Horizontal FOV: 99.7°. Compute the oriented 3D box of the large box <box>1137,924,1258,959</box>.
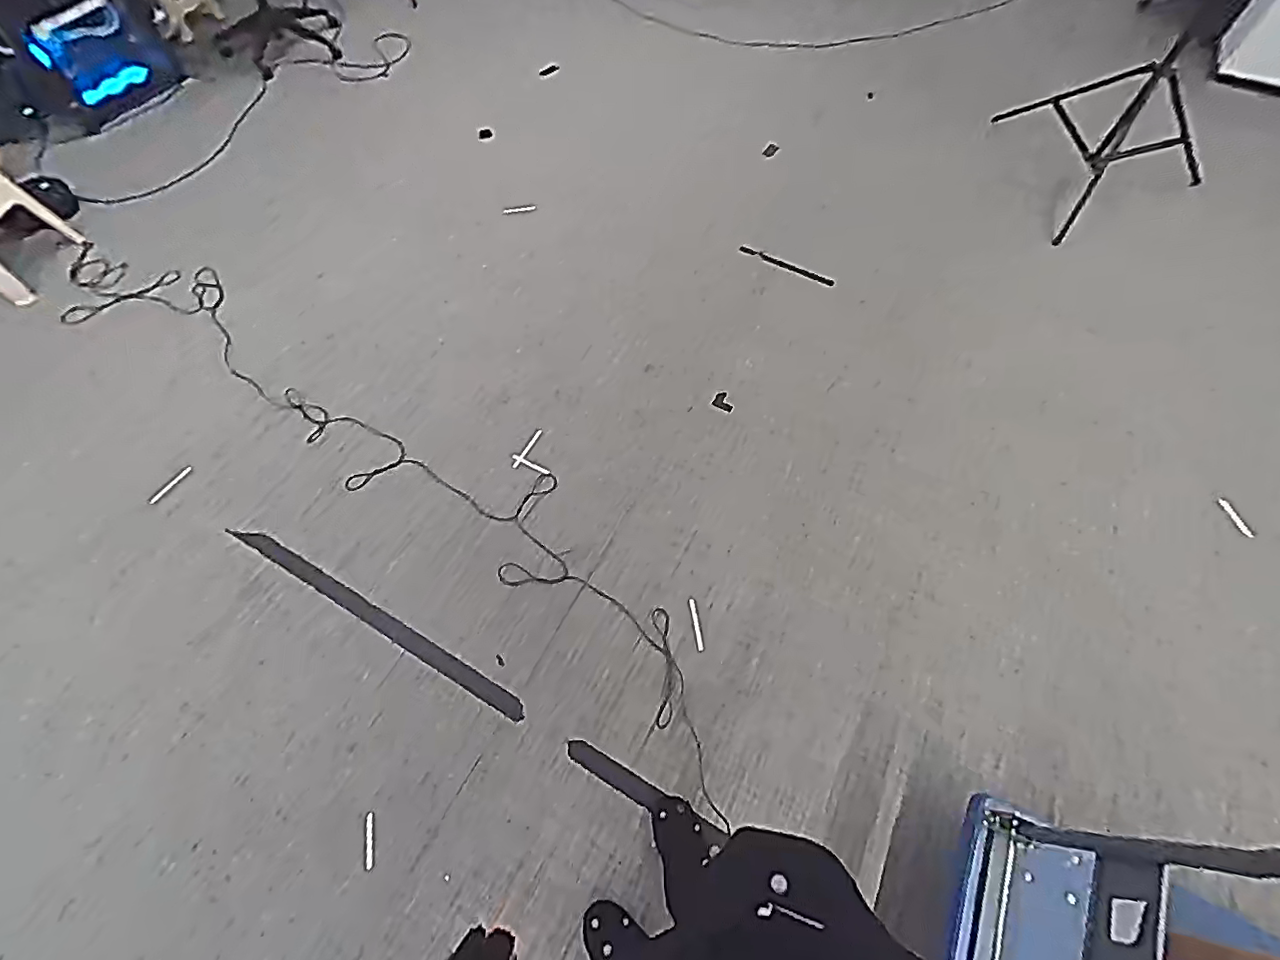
[{"bbox_3d":[1.011,0.969,0.776,0.320,0.320,0.408,17,64,10],"label":"large box"}]
